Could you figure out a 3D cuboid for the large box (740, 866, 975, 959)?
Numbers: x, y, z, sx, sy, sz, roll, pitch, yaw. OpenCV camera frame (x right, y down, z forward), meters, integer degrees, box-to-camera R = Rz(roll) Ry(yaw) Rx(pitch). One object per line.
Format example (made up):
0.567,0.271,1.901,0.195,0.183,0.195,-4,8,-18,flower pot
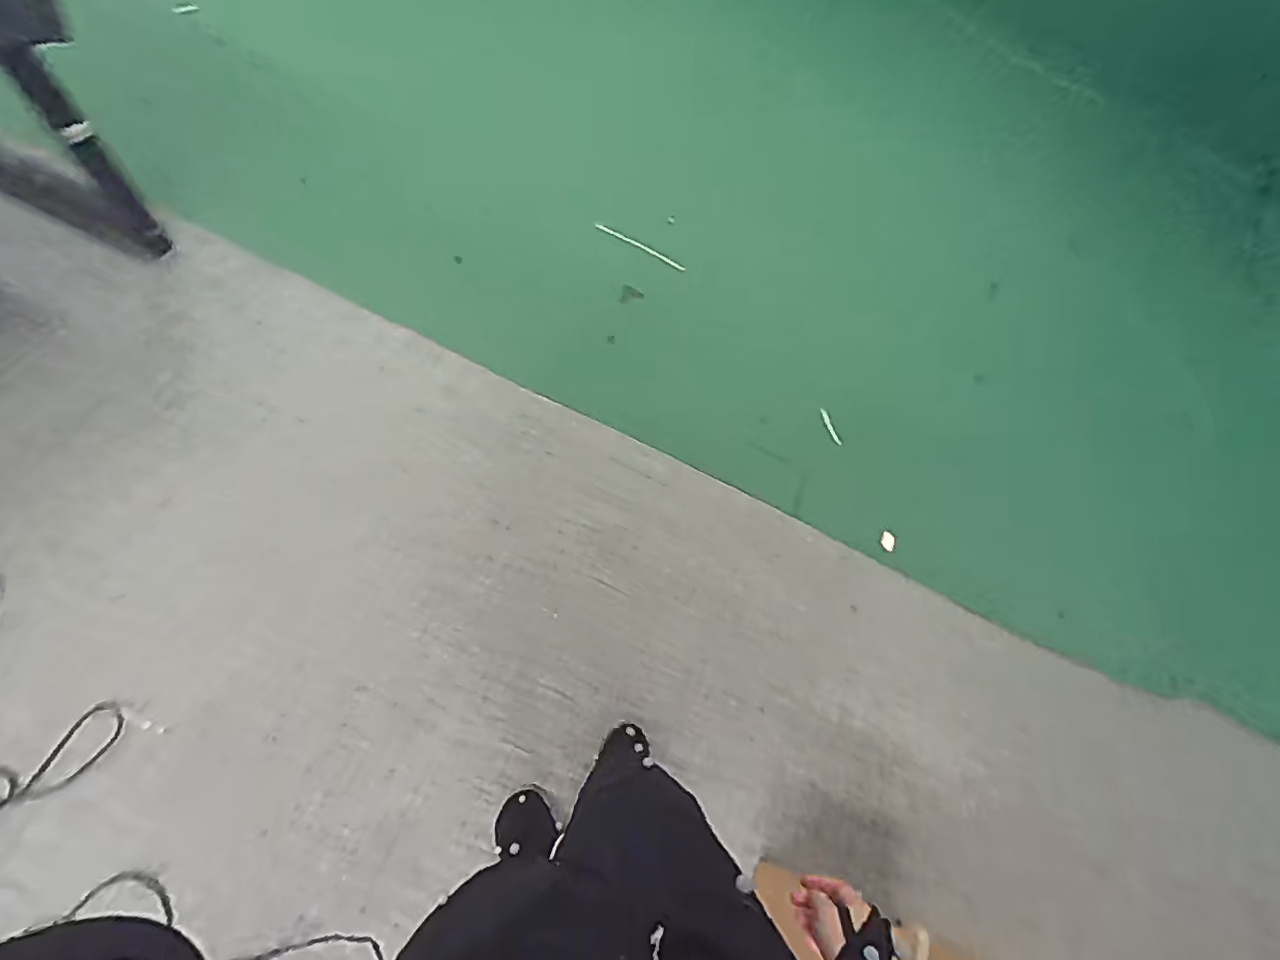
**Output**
0.352,0.964,0.912,0.320,0.320,0.408,23,65,-2,large box
